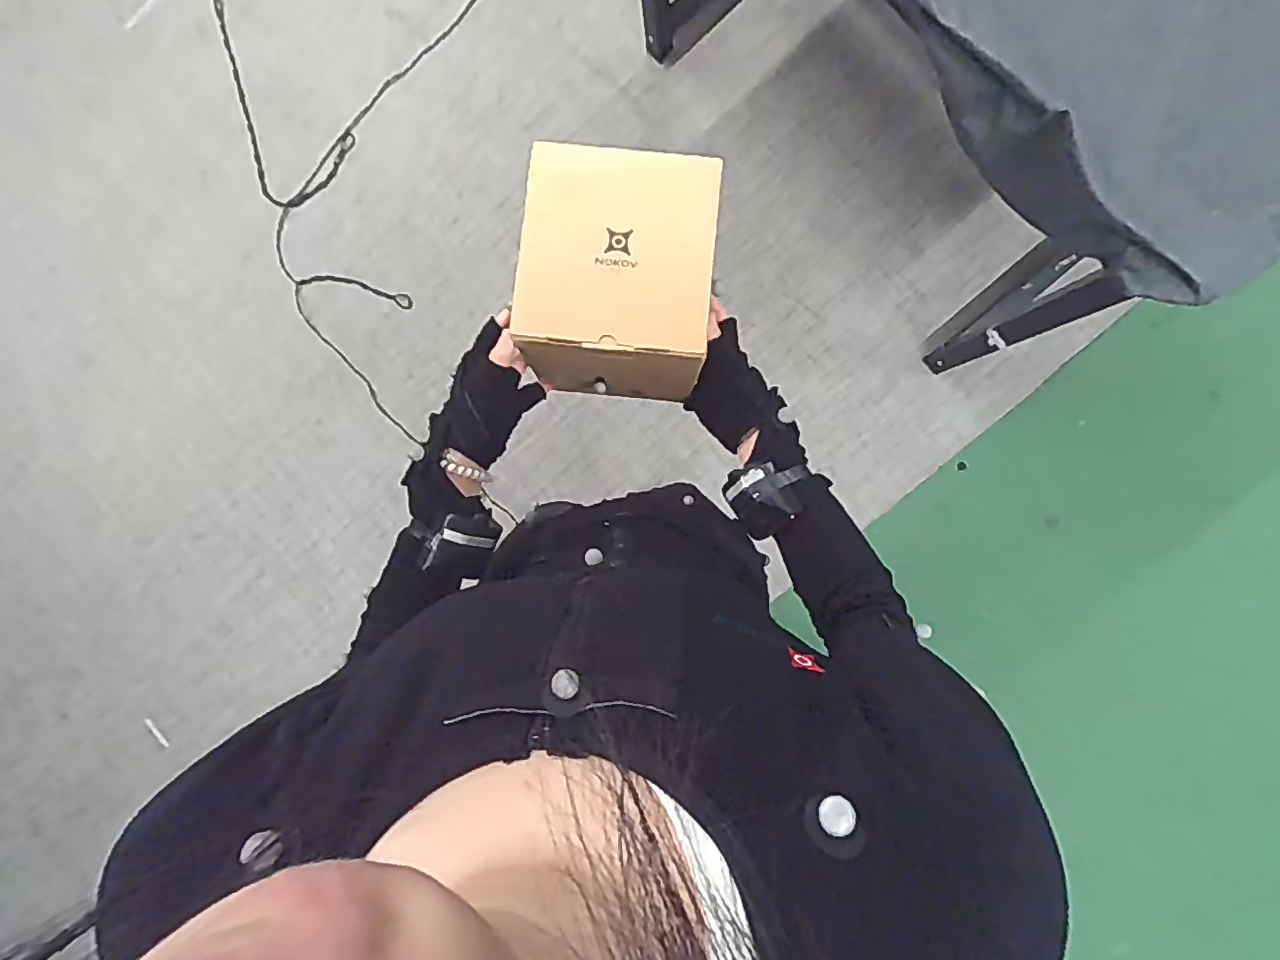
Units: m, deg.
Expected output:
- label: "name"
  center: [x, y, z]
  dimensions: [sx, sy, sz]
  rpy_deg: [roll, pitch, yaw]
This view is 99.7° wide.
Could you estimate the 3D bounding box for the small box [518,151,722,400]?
- label: "small box"
  center: [-0.017, -0.192, 0.551]
  dimensions: [0.168, 0.176, 0.179]
  rpy_deg: [5, 86, 0]
